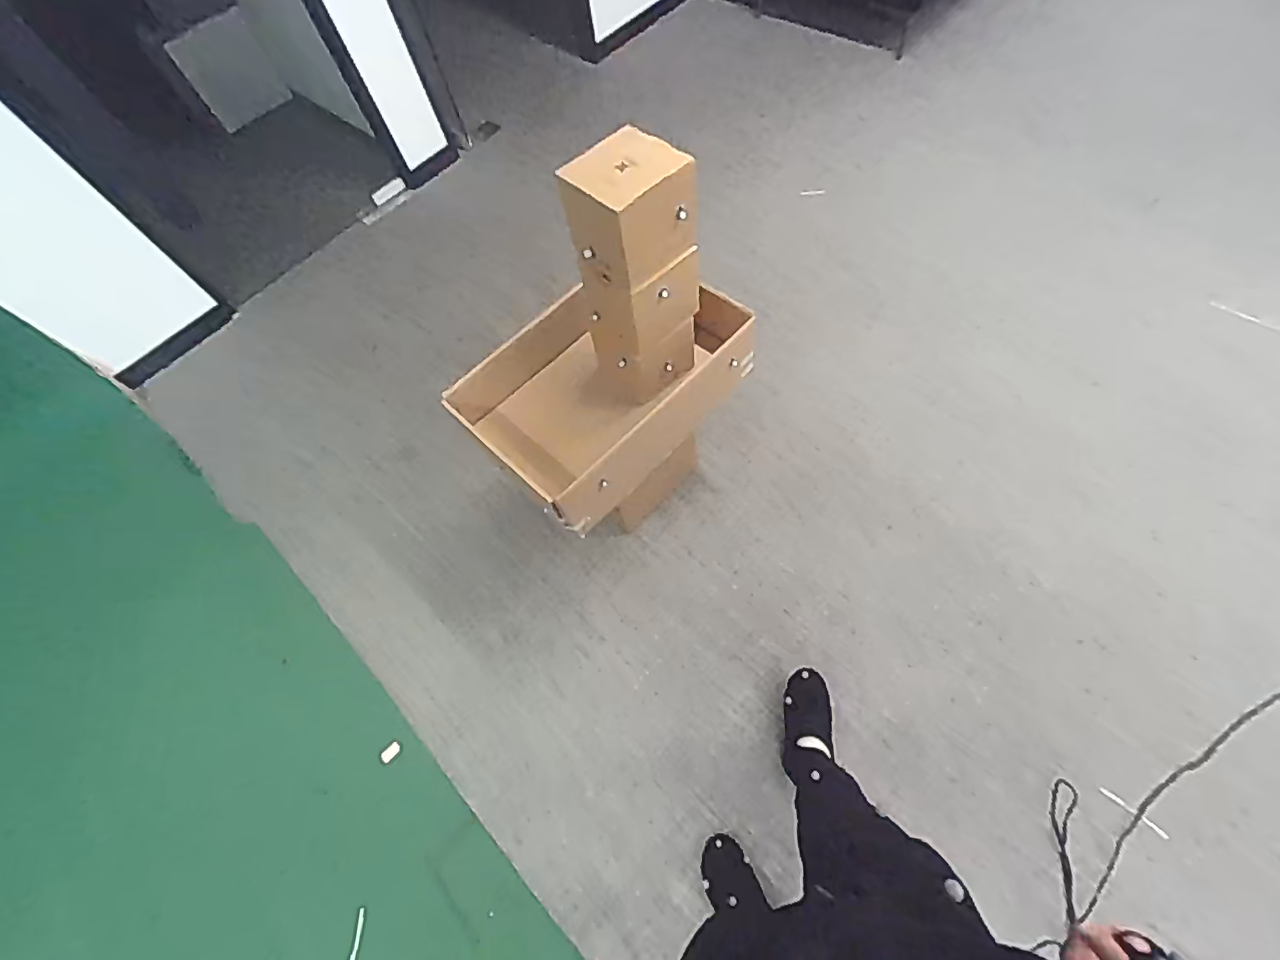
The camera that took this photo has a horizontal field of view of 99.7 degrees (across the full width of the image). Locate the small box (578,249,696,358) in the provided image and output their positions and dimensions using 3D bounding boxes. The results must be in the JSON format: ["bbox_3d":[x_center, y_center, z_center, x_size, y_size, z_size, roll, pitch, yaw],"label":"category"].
[{"bbox_3d":[0.003,-0.387,1.116,0.179,0.176,0.168,-40,64,-15],"label":"small box"}]

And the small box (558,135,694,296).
[{"bbox_3d":[-0.018,-0.474,0.979,0.179,0.176,0.168,-41,64,-14],"label":"small box"}]

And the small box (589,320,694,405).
[{"bbox_3d":[0.012,-0.301,1.256,0.168,0.176,0.179,-39,63,-14],"label":"small box"}]
